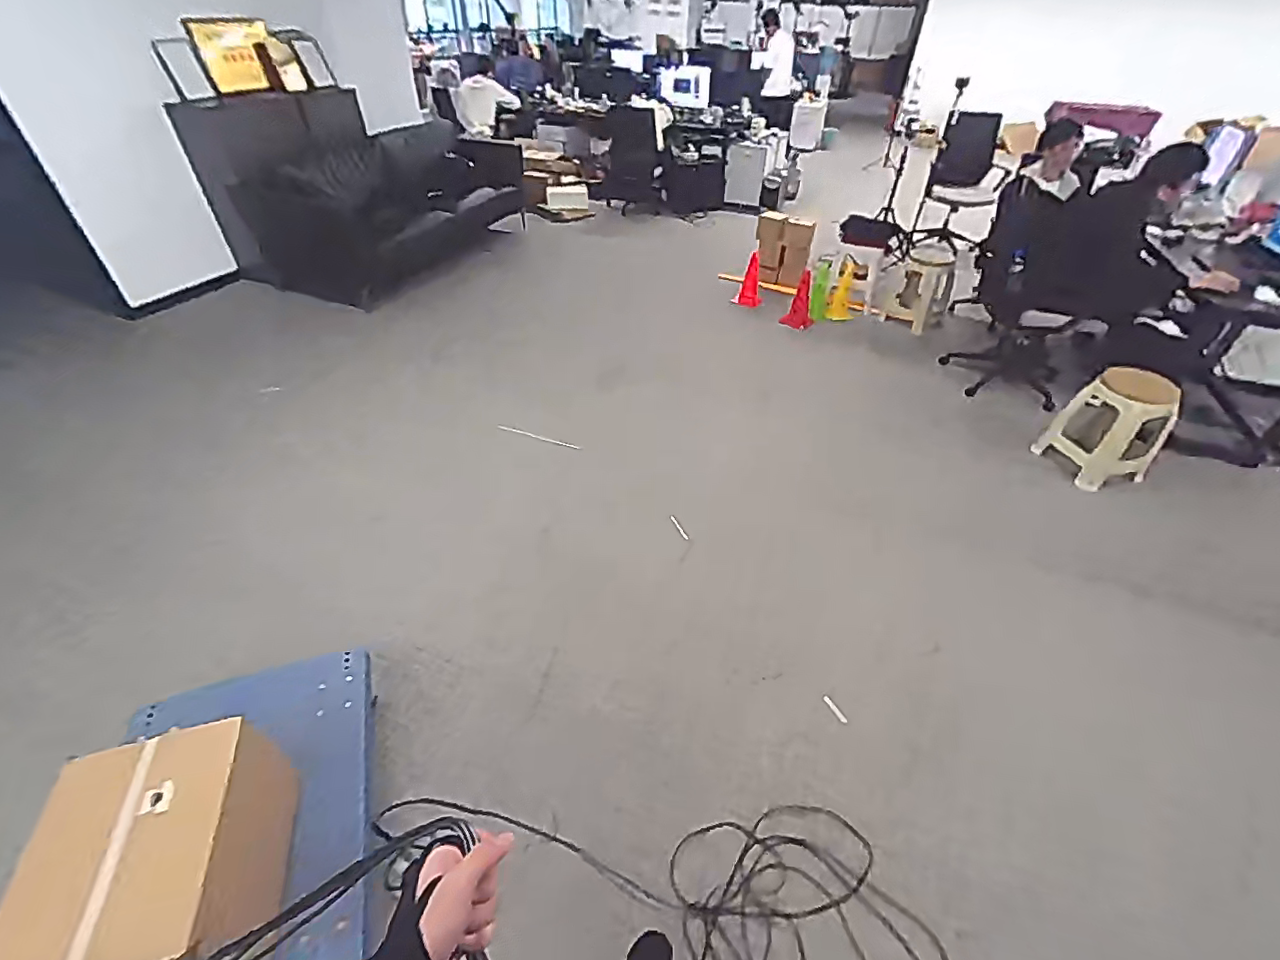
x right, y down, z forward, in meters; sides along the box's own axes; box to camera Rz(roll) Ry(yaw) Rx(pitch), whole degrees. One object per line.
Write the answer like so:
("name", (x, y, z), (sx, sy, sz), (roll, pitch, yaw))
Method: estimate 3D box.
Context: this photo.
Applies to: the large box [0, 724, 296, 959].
("large box", (-0.911, 0.767, 1.034), (0.320, 0.320, 0.408), (-10, 41, -14))
